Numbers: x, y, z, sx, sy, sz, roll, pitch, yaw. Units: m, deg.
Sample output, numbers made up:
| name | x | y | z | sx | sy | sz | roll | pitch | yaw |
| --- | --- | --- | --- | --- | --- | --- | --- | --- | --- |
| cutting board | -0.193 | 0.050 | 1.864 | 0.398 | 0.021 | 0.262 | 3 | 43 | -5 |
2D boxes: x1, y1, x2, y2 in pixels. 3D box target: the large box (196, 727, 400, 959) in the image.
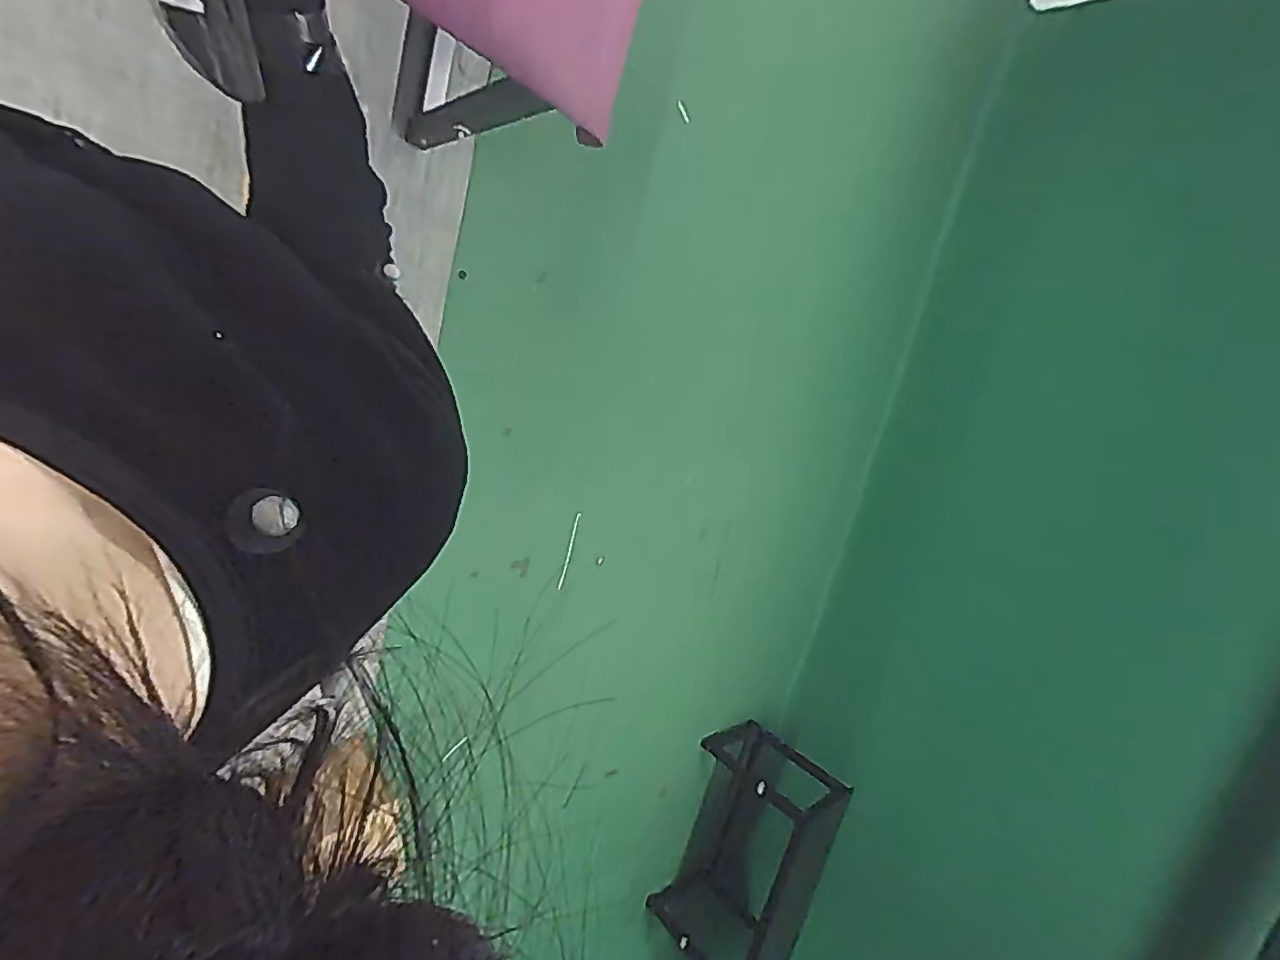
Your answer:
| name | x | y | z | sx | sy | sz | roll | pitch | yaw |
| --- | --- | --- | --- | --- | --- | --- | --- | --- | --- |
| large box | -0.952 | 0.996 | 1.529 | 0.408 | 0.320 | 0.320 | -15 | 118 | -43 |

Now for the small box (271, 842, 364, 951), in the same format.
| name | x | y | z | sx | sy | sz | roll | pitch | yaw |
| --- | --- | --- | --- | --- | --- | --- | --- | --- | --- |
| small box | -0.800 | 1.043 | 1.338 | 0.168 | 0.176 | 0.179 | -7 | 111 | -43 |
